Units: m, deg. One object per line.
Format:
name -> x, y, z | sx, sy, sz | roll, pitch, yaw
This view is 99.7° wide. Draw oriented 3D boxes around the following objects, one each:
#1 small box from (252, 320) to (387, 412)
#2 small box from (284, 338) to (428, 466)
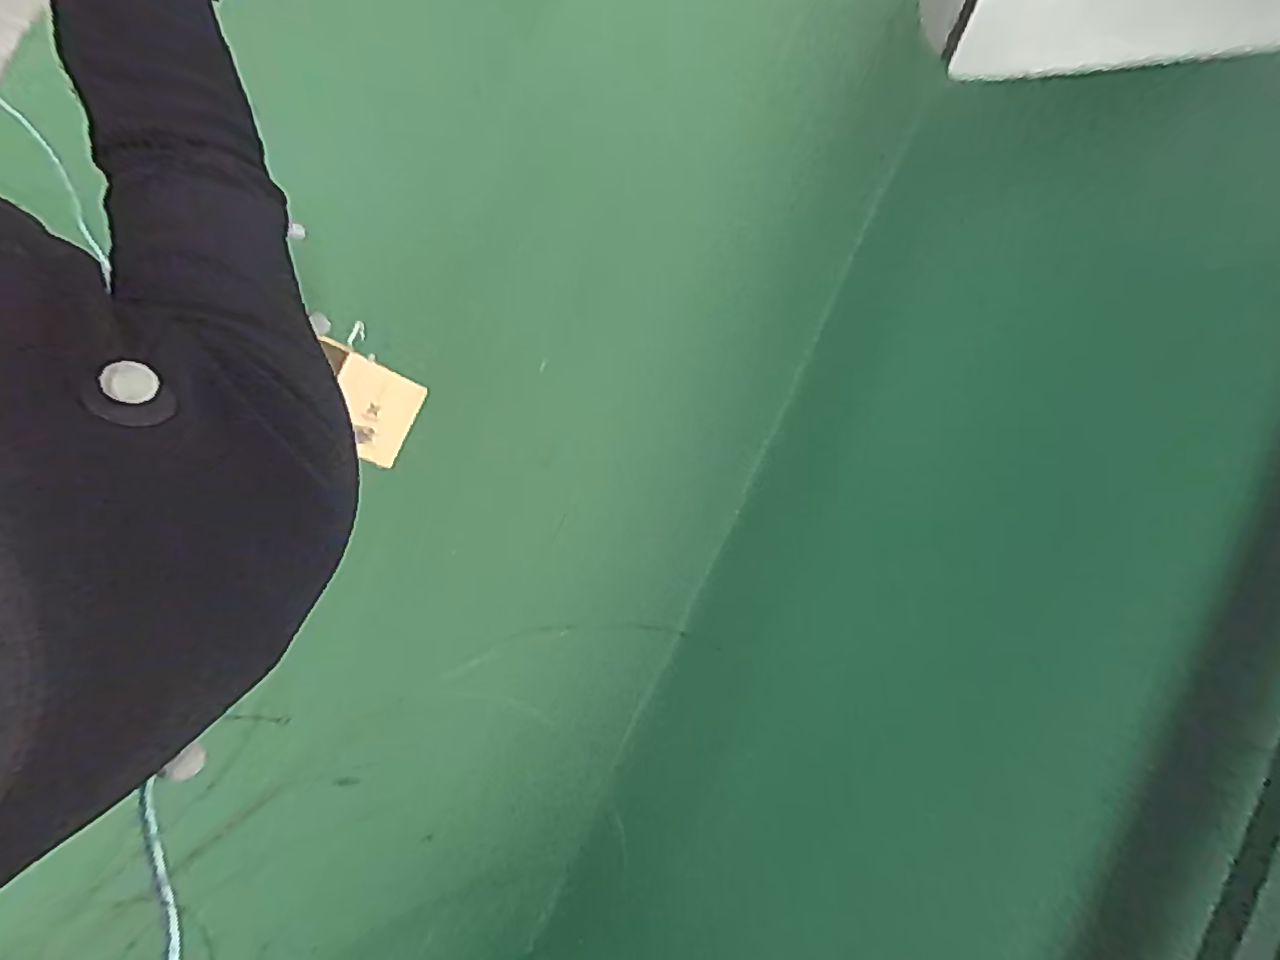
small box -> -0.681, -0.216, 1.145 | 0.168, 0.176, 0.179 | 31, 85, -53
small box -> -0.558, -0.154, 1.054 | 0.168, 0.176, 0.179 | 29, 86, -53
